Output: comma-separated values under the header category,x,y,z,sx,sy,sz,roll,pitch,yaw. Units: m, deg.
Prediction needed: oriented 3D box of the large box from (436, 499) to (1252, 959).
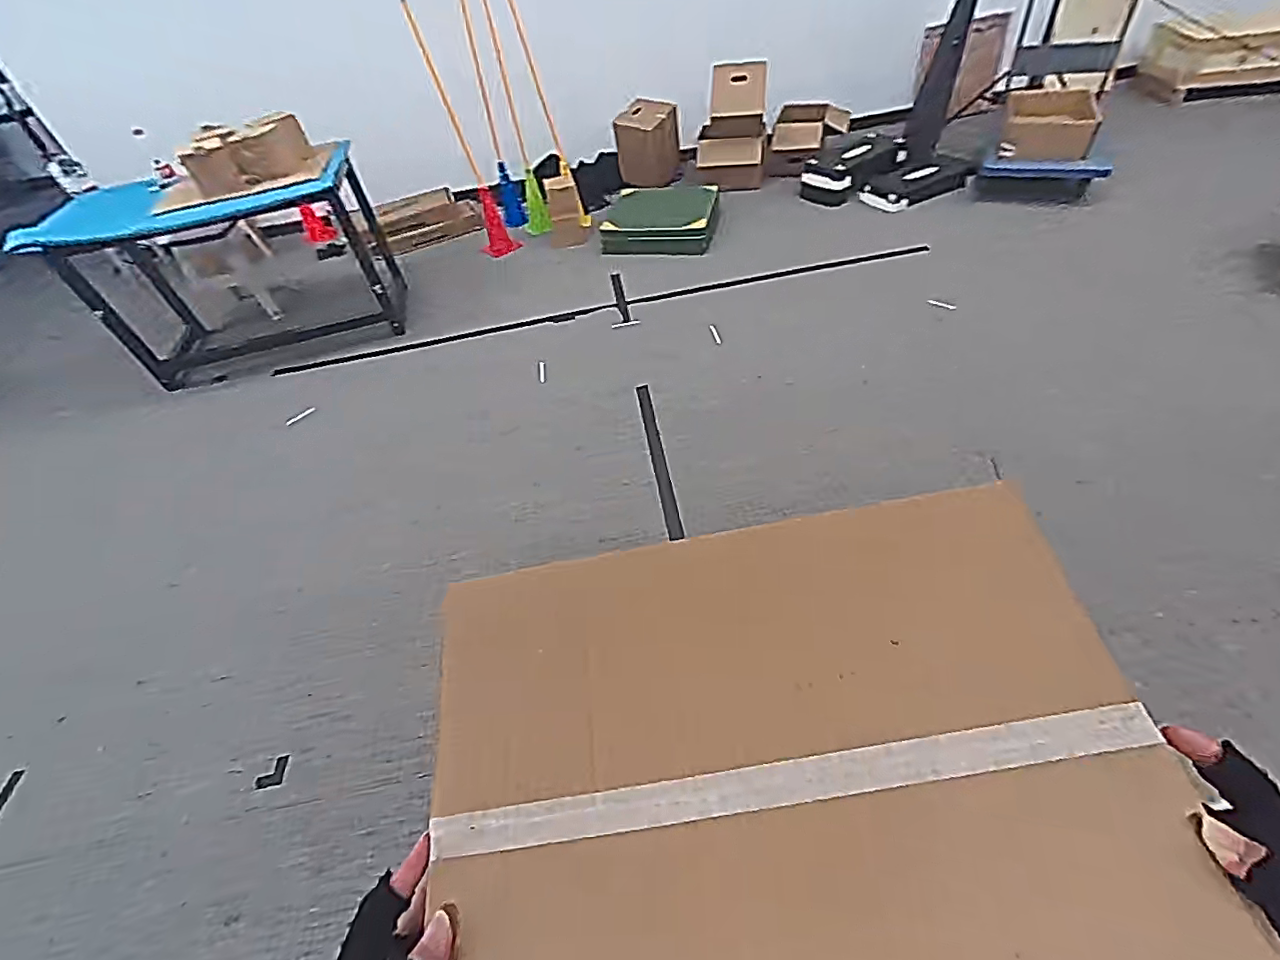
category,x,y,z,sx,sy,sz,roll,pitch,yaw
large box,0.100,0.254,0.438,0.408,0.320,0.320,-11,57,3
